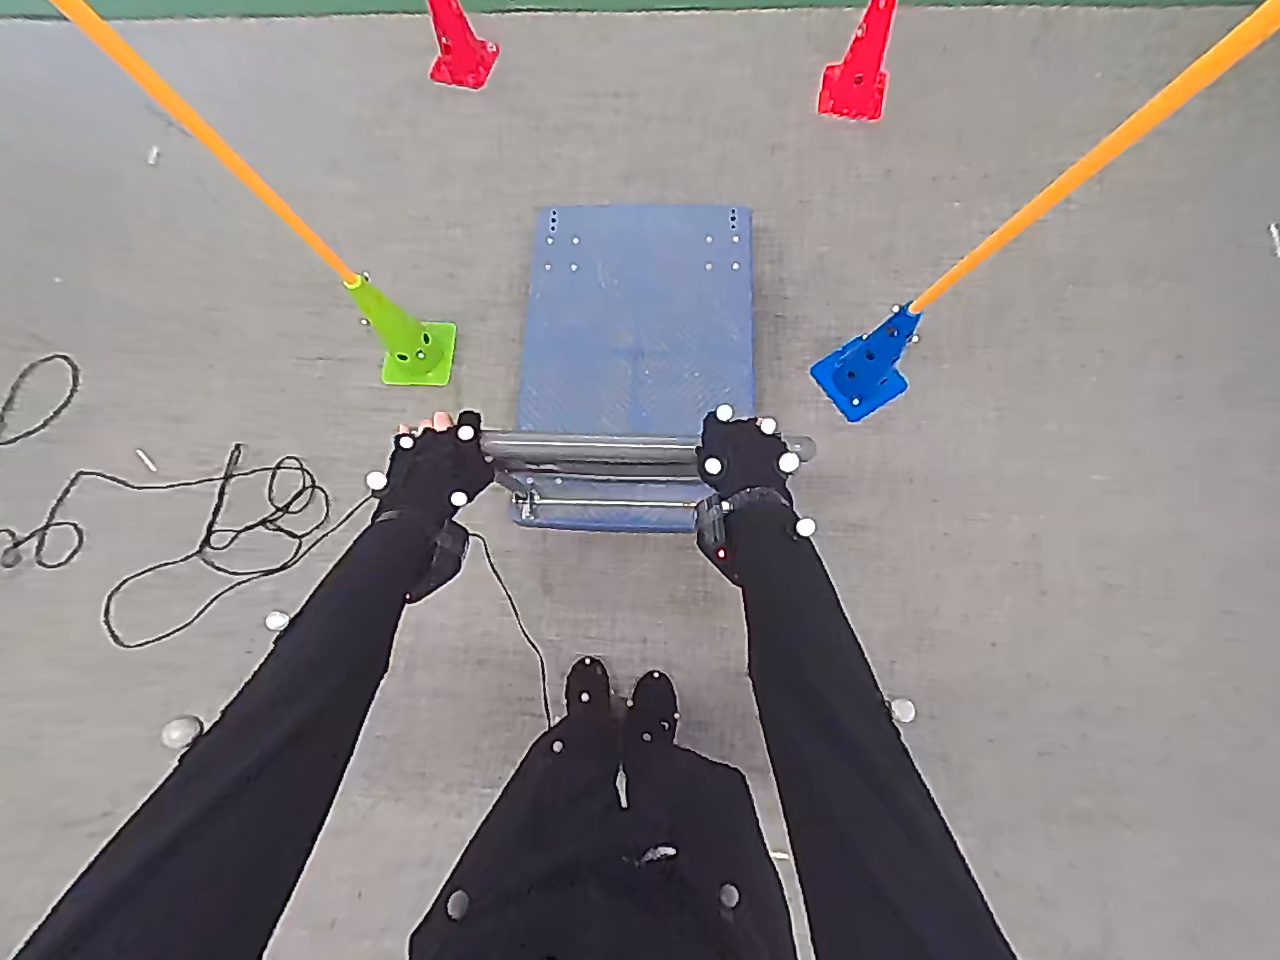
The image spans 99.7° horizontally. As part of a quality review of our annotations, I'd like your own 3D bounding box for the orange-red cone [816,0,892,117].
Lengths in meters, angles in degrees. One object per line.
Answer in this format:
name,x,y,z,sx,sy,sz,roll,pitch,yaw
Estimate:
orange-red cone,0.656,-1.273,1.538,0.198,0.360,0.199,13,78,8
